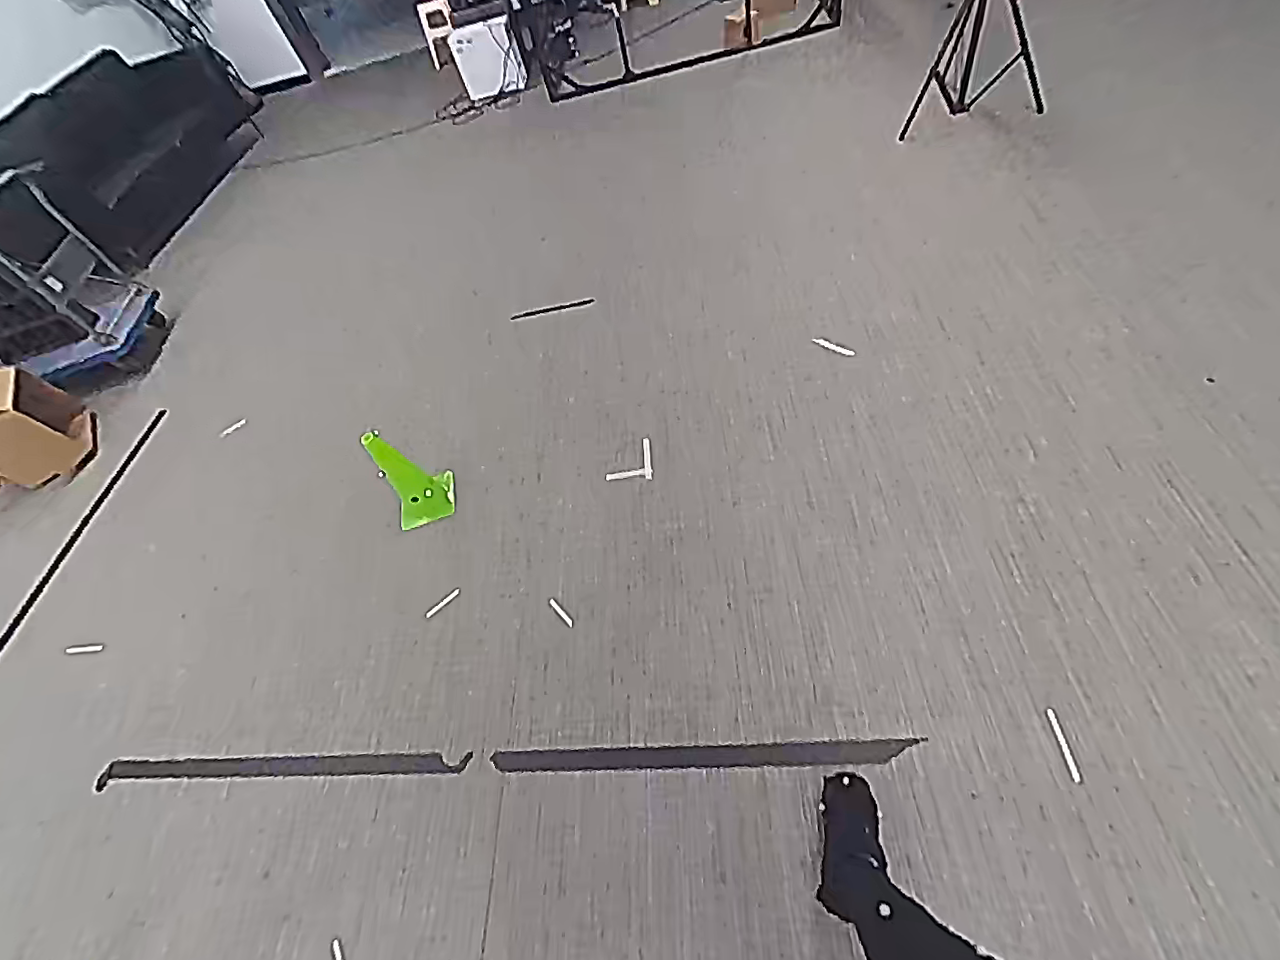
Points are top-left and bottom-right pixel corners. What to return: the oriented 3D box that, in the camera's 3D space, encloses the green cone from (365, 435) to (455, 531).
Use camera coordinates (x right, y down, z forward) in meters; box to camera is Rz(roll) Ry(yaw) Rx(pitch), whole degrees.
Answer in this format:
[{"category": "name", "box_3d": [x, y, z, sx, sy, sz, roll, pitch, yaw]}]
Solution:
[{"category": "green cone", "box_3d": [-0.794, -0.018, 1.800, 0.202, 0.368, 0.200, -20, 53, 0]}]
